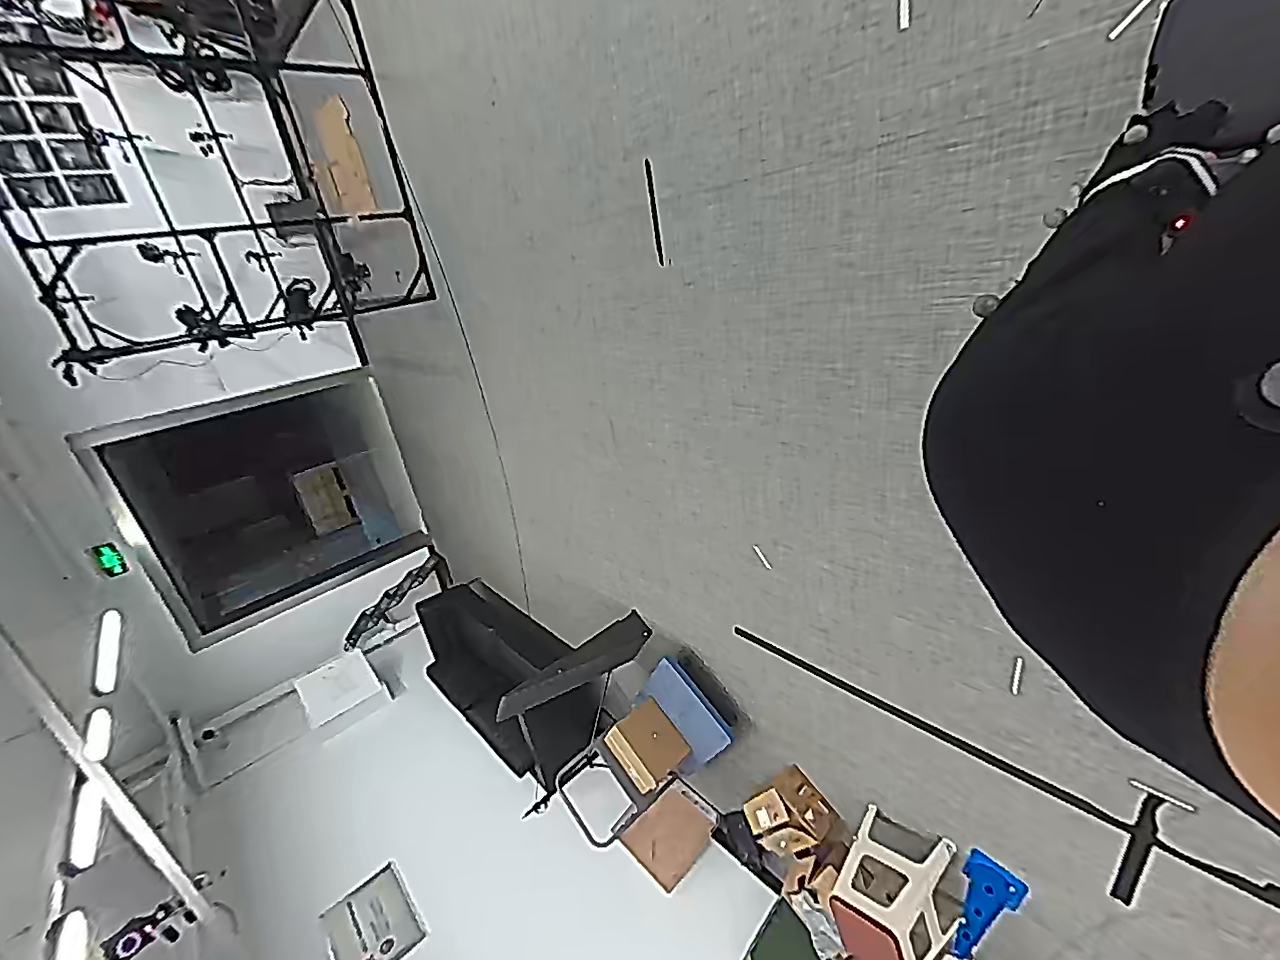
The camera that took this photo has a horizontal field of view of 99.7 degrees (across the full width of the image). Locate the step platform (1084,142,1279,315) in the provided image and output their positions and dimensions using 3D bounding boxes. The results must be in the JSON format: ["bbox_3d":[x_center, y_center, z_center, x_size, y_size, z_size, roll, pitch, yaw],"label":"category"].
[{"bbox_3d":[1.213,-0.450,0.936,0.684,0.204,0.286,16,124,48],"label":"step platform"}]
